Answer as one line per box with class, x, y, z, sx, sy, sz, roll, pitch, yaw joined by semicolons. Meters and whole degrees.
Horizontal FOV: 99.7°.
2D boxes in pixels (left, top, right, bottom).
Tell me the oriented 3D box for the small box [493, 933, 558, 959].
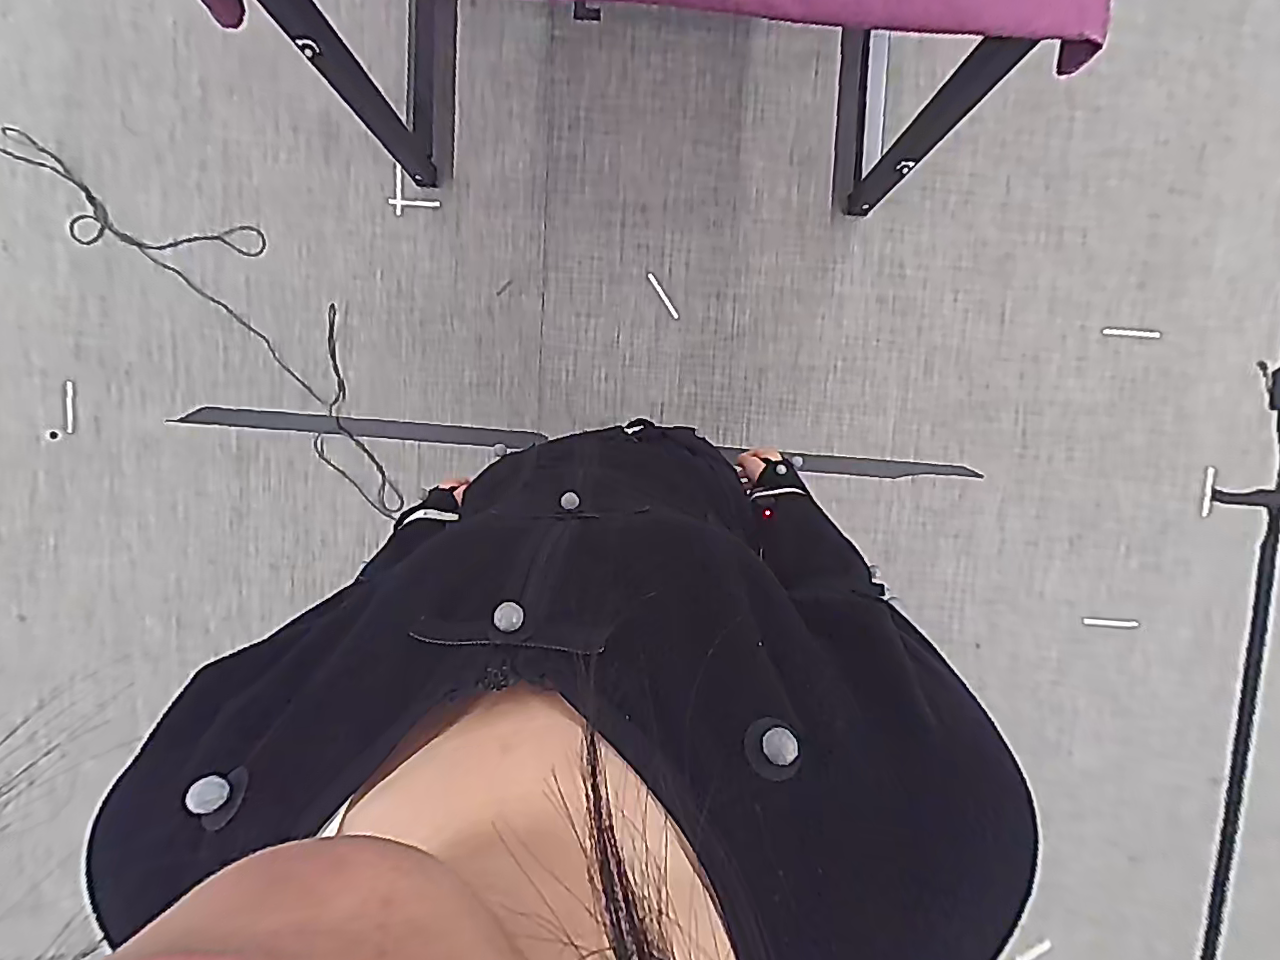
small box;-0.313;1.379;1.460;0.168;0.176;0.179;-2;95;-1
